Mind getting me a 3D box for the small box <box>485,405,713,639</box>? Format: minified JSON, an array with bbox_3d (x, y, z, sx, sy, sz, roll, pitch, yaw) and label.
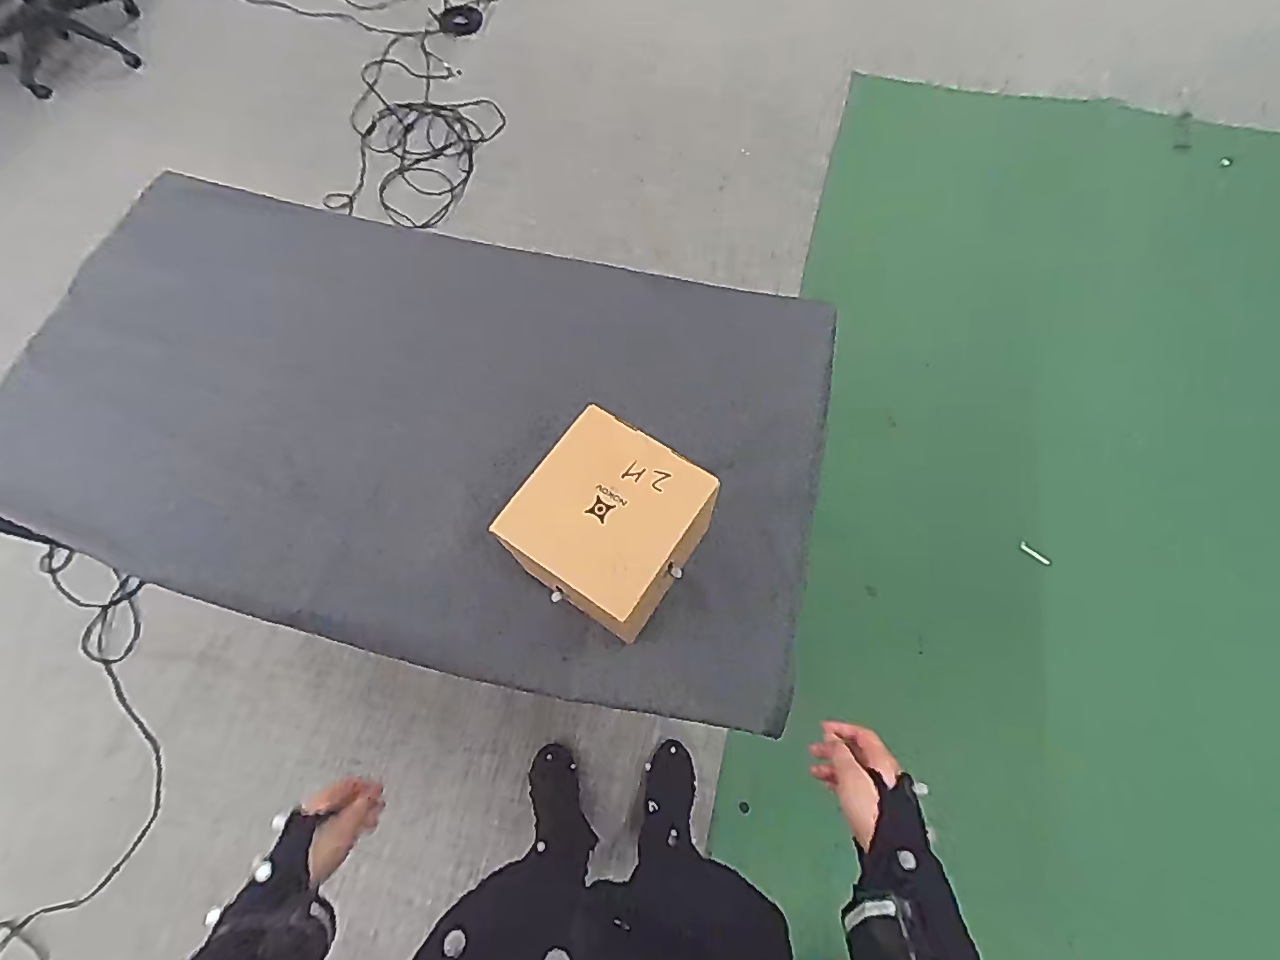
[{"bbox_3d":[-0.036,0.057,0.606,0.168,0.176,0.179,33,71,14],"label":"small box"}]
